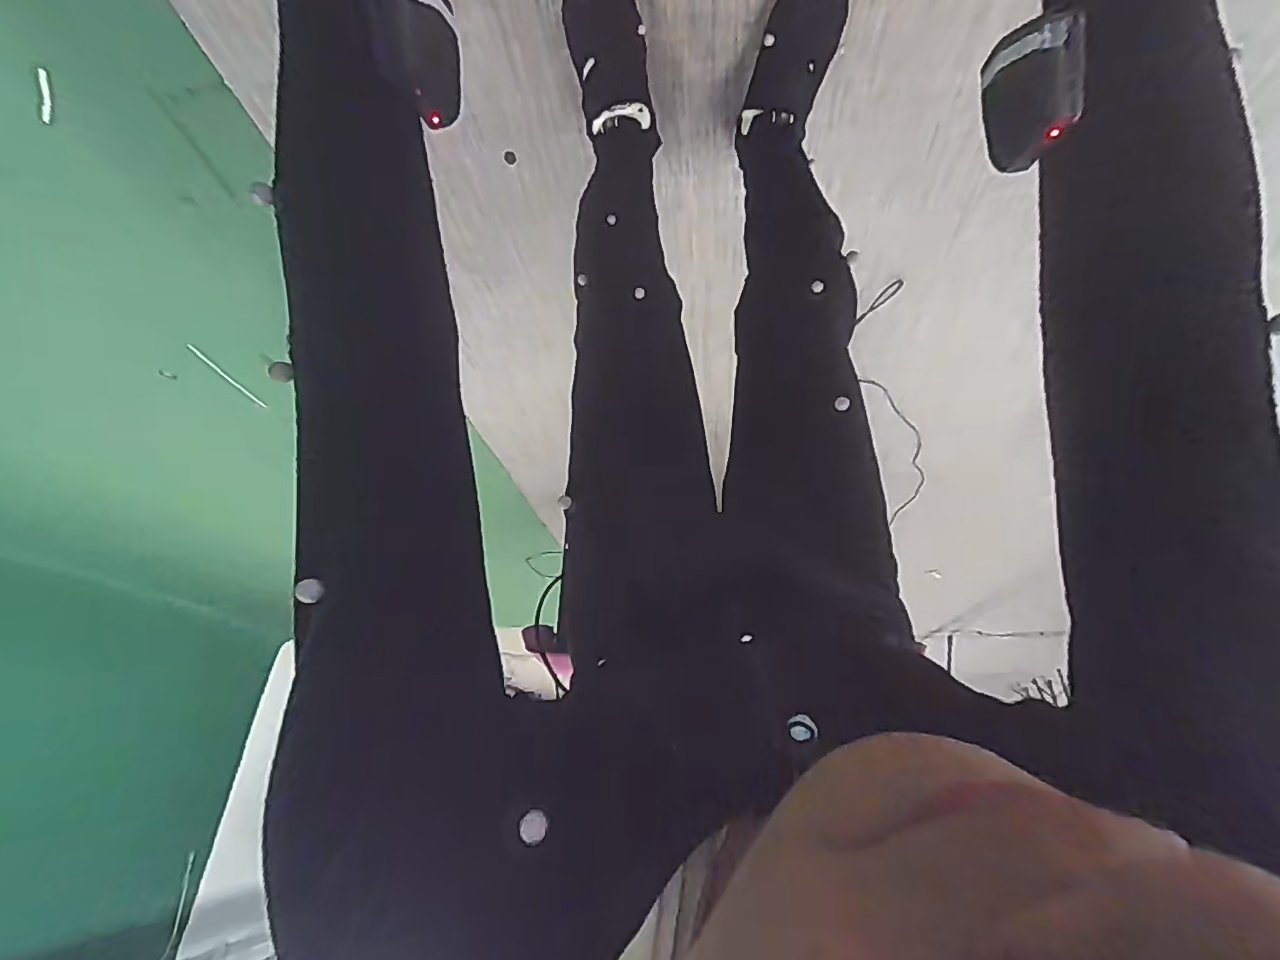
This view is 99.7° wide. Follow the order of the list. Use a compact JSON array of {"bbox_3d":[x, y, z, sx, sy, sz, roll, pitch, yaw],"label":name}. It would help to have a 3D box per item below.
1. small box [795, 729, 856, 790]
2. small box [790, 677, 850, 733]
[{"bbox_3d":[0.615,0.934,1.812,0.168,0.176,0.179,-2,151,10],"label":"small box"},{"bbox_3d":[0.622,0.790,1.887,0.168,0.176,0.179,-3,151,9],"label":"small box"}]
